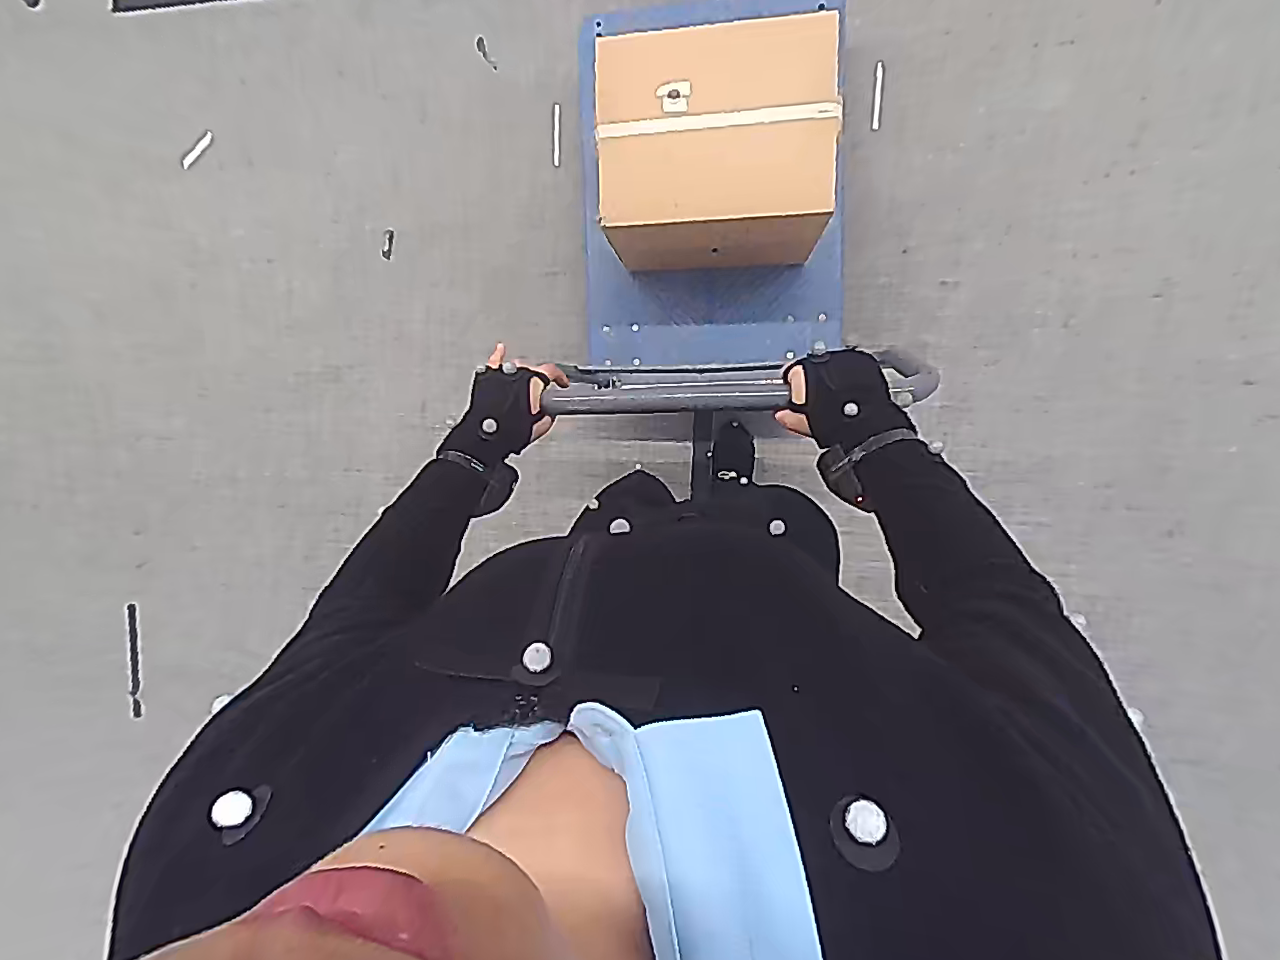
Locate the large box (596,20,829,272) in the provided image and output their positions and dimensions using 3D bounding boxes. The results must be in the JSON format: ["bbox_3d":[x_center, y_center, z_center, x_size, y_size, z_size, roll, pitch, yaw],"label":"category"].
[{"bbox_3d":[0.146,-0.625,1.087,0.408,0.320,0.320,0,95,9],"label":"large box"}]
